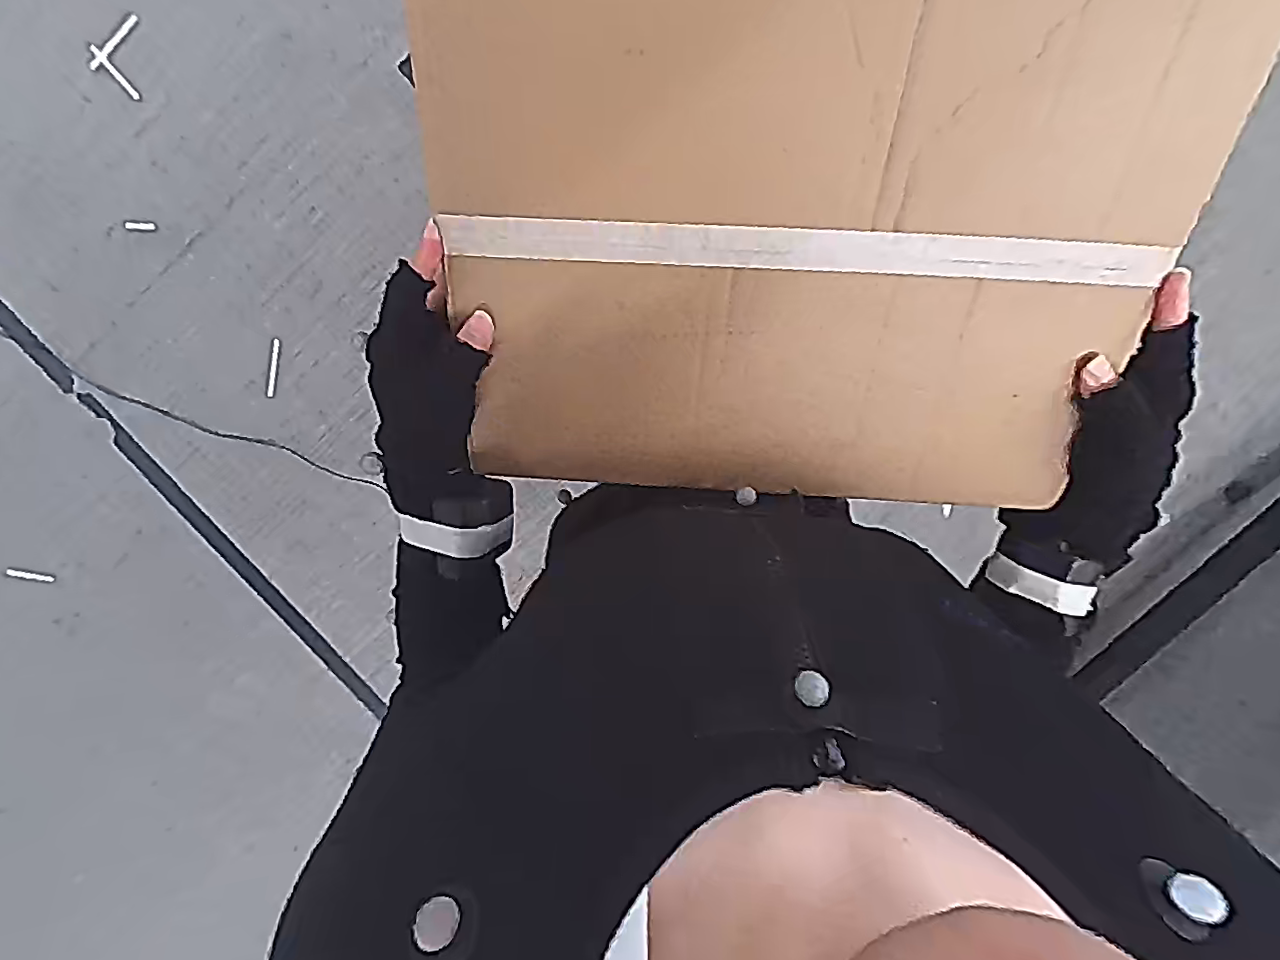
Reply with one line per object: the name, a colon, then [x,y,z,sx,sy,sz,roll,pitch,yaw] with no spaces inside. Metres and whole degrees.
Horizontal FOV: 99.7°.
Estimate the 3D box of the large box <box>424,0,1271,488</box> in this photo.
large box: [0.095,-0.208,0.439,0.408,0.320,0.320,3,121,1]
